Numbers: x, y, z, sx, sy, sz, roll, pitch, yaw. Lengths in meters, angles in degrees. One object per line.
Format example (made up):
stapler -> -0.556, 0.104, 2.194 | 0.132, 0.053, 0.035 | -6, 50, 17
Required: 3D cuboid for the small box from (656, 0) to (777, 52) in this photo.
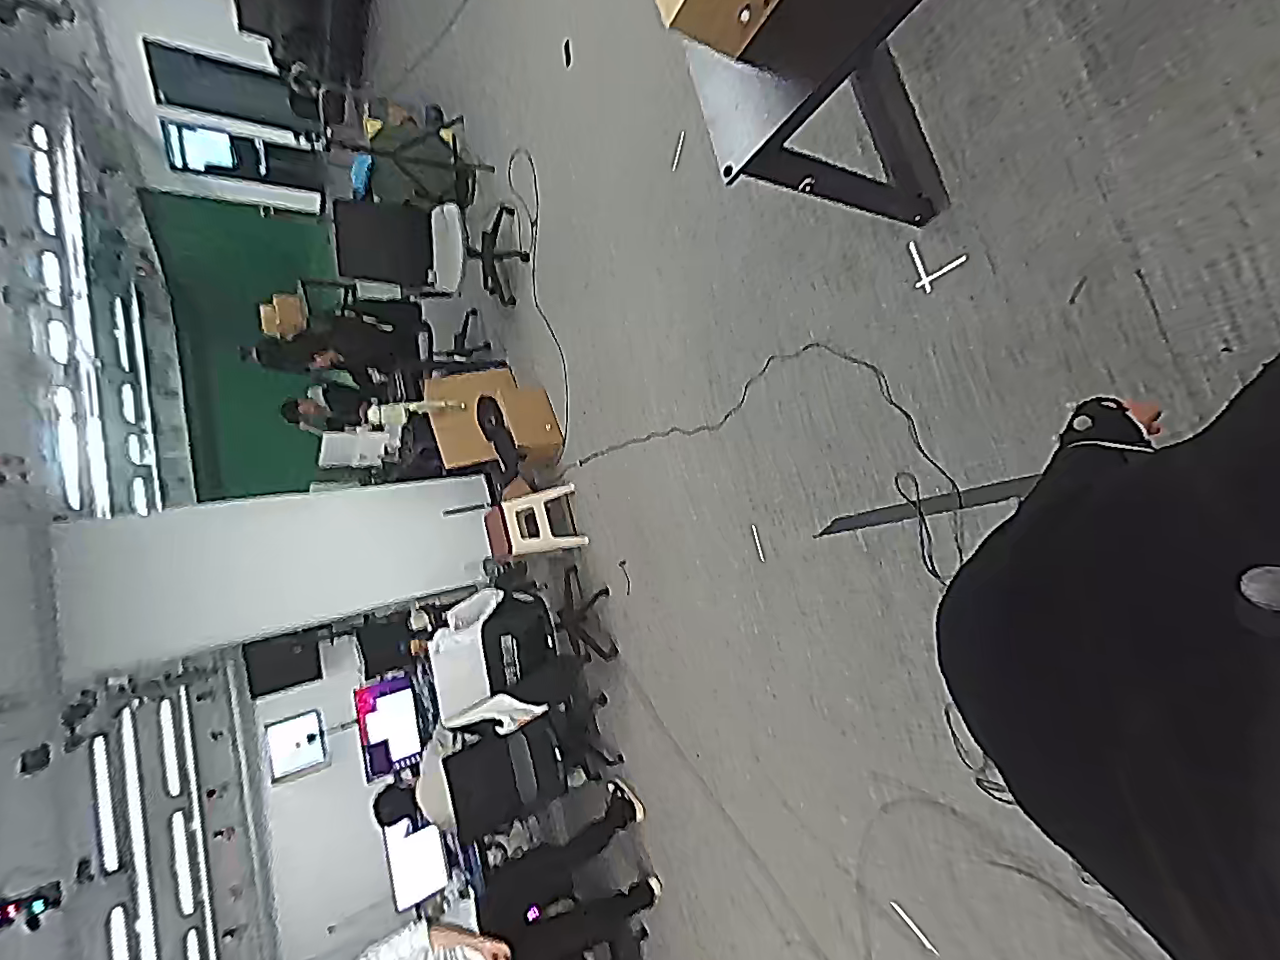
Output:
small box -> 0.129, -0.879, 0.912 | 0.168, 0.176, 0.179 | -30, 73, 53
